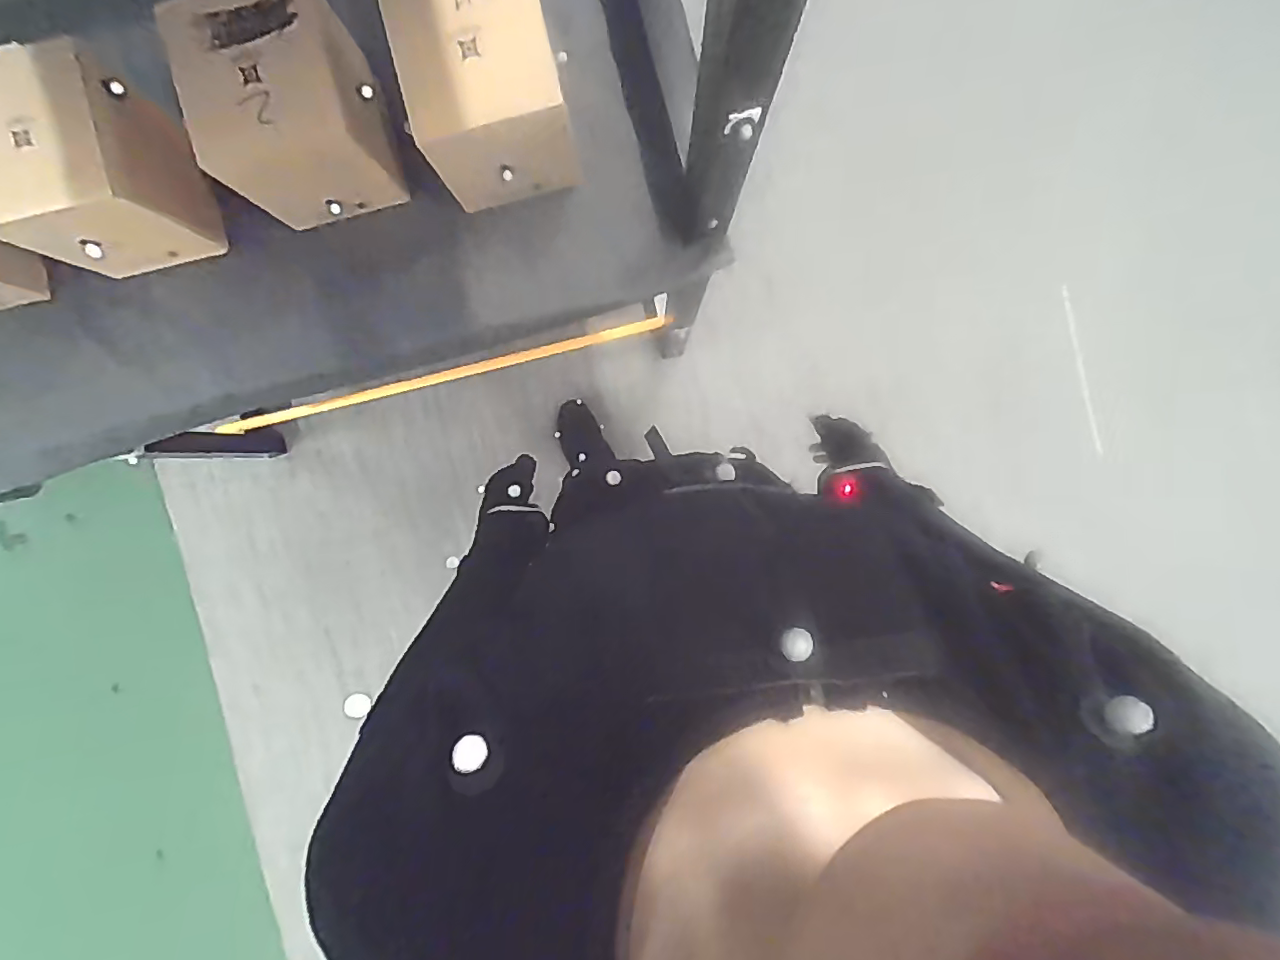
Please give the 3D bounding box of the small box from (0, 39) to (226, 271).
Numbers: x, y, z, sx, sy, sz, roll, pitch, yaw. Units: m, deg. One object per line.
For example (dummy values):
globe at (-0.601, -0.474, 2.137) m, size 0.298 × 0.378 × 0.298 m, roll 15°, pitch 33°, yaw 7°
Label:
small box at (-0.659, -0.375, 0.664) m, size 0.168 × 0.176 × 0.179 m, roll -13°, pitch 92°, yaw 1°

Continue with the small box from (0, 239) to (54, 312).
small box at (-0.905, -0.316, 0.667) m, size 0.168 × 0.176 × 0.179 m, roll -13°, pitch 93°, yaw 1°

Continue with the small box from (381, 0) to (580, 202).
small box at (-0.177, -0.463, 0.650) m, size 0.168 × 0.176 × 0.179 m, roll -14°, pitch 92°, yaw 2°
